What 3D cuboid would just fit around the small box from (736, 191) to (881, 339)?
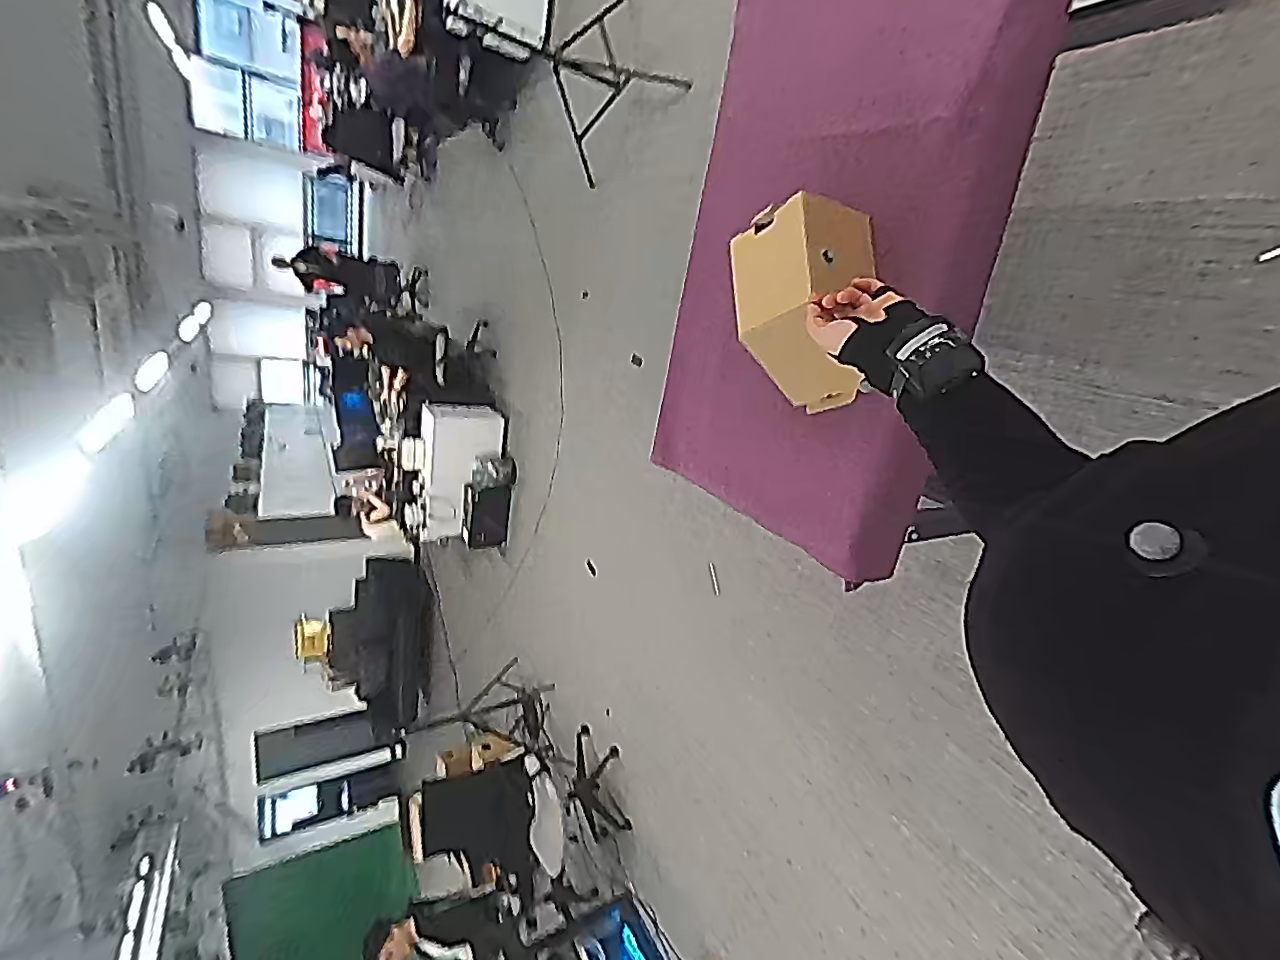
[{"bbox_3d":[0.284,-0.347,0.914,0.168,0.176,0.179,-10,82,58],"label":"small box"}]
